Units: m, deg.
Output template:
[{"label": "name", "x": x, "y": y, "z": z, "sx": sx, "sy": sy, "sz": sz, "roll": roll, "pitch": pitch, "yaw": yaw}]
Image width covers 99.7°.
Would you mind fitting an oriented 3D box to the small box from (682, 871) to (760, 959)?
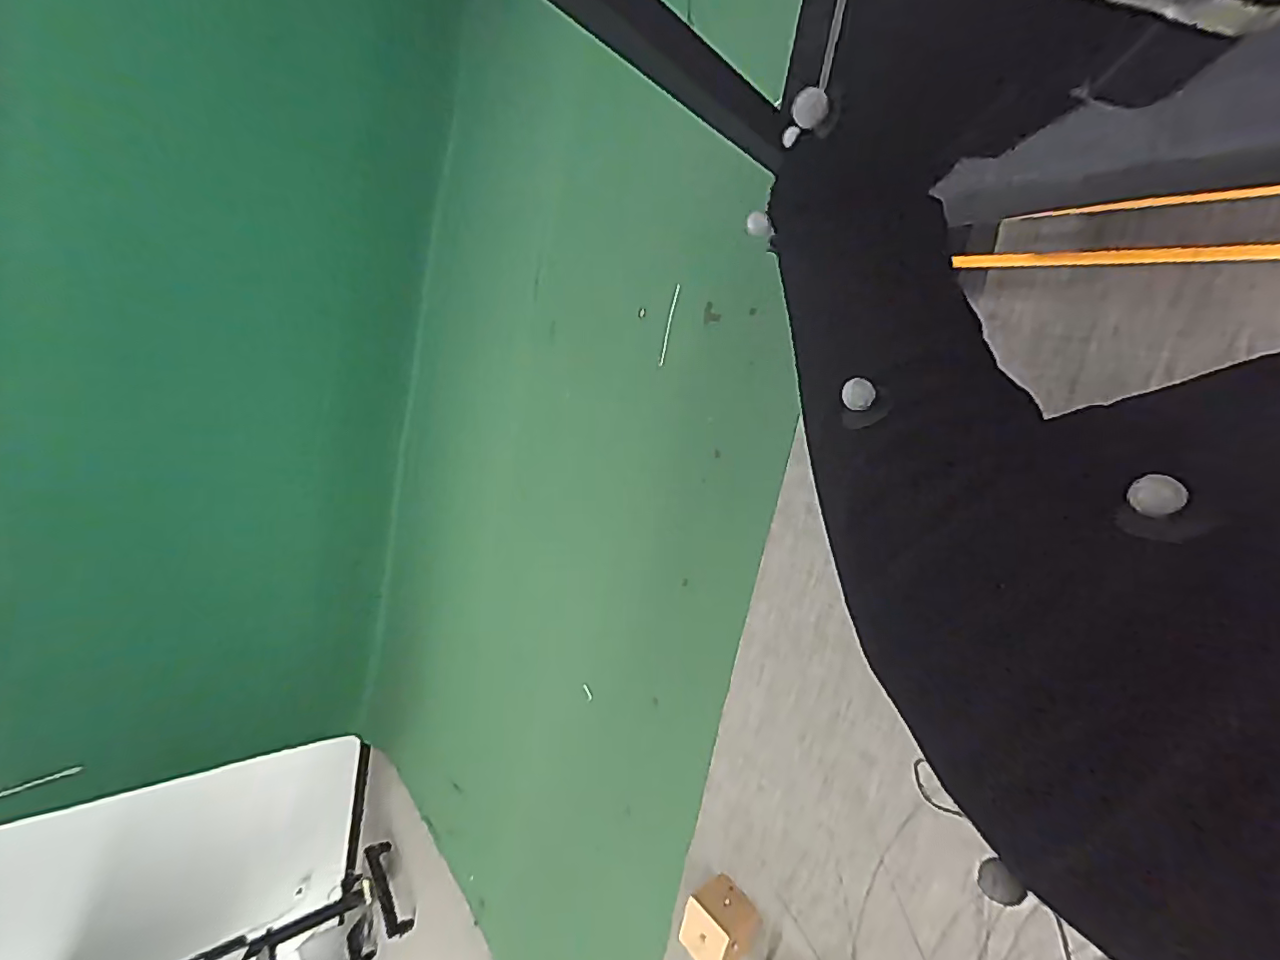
[{"label": "small box", "x": 0.266, "y": 1.428, "z": 1.753, "sx": 0.168, "sy": 0.176, "sz": 0.179, "roll": 22, "pitch": 104, "yaw": 46}]
